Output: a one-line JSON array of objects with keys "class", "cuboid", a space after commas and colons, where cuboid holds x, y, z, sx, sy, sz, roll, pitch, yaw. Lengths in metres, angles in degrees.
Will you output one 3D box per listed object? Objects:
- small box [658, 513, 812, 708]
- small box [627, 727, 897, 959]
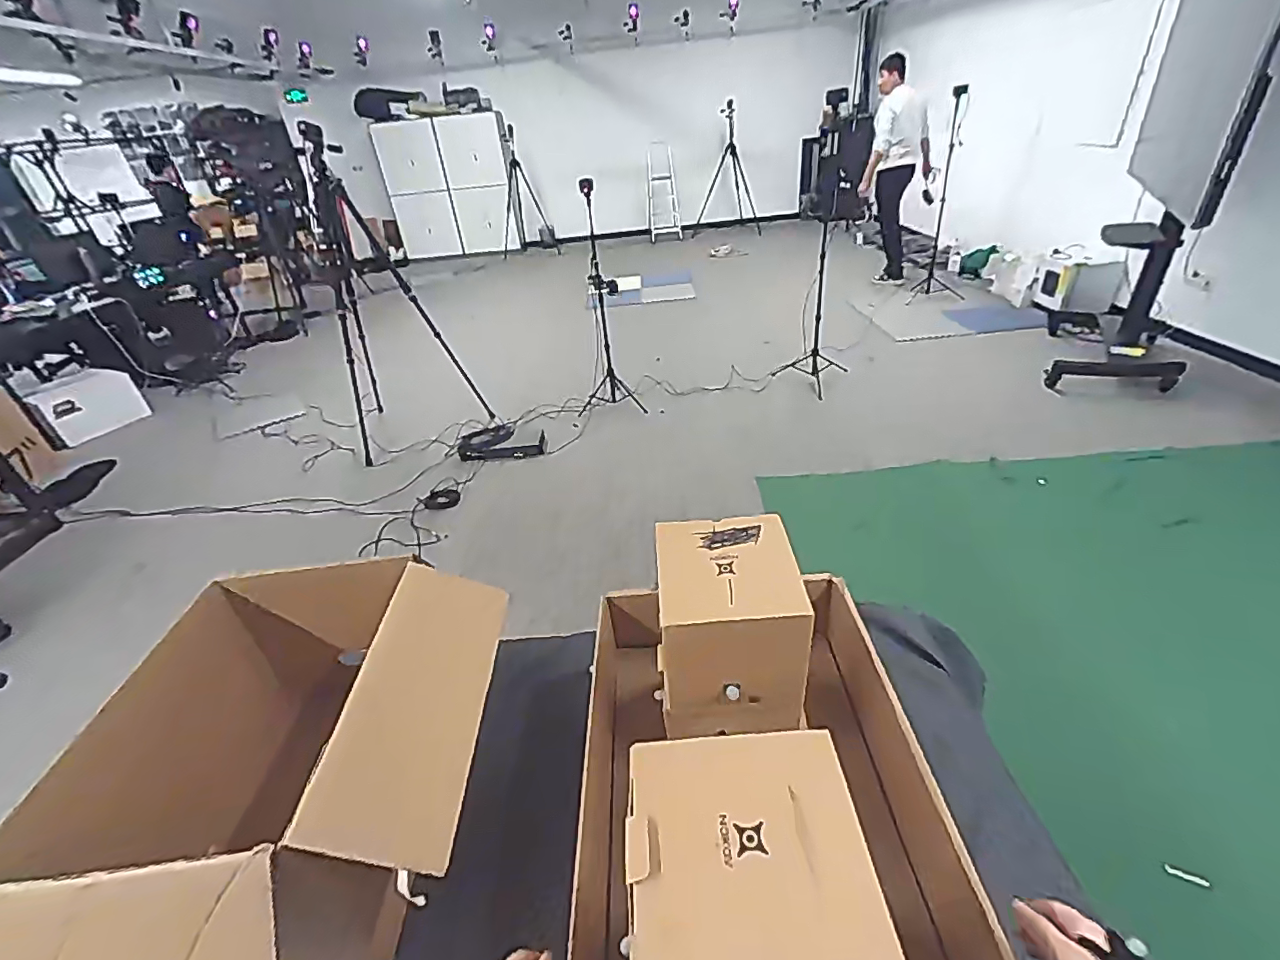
[{"class": "small box", "cuboid": [0.110, 0.165, 0.693, 0.168, 0.176, 0.179, -5, 35, 3]}, {"class": "small box", "cuboid": [0.086, 0.336, 0.454, 0.179, 0.176, 0.168, -5, 34, 2]}]
